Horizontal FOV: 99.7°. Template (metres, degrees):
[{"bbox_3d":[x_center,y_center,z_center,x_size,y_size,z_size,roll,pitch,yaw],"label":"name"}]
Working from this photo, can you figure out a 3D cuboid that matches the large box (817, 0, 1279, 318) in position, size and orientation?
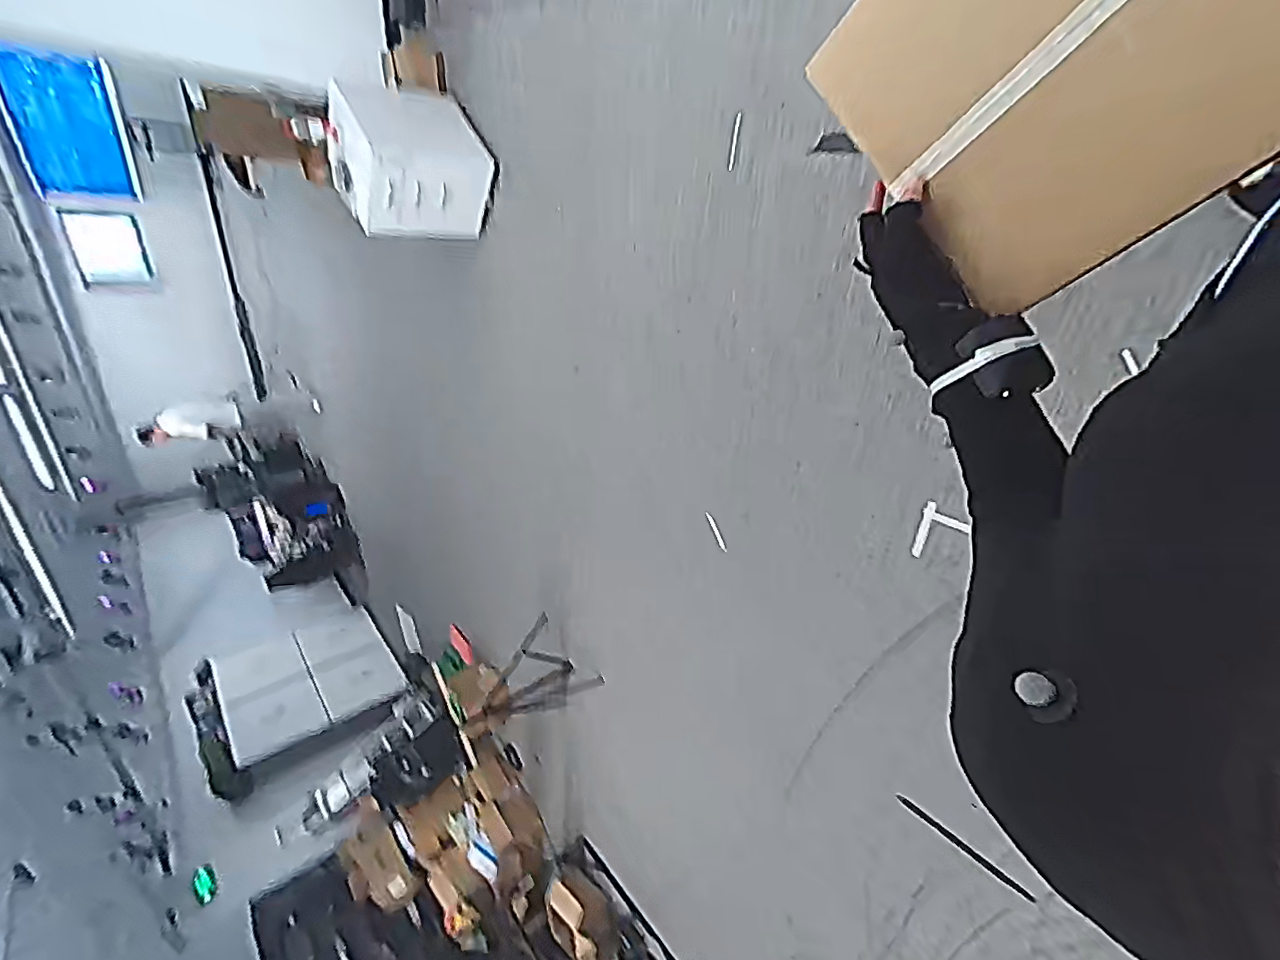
[{"bbox_3d":[0.455,-0.409,0.483,0.320,0.320,0.408,58,138,6],"label":"large box"}]
